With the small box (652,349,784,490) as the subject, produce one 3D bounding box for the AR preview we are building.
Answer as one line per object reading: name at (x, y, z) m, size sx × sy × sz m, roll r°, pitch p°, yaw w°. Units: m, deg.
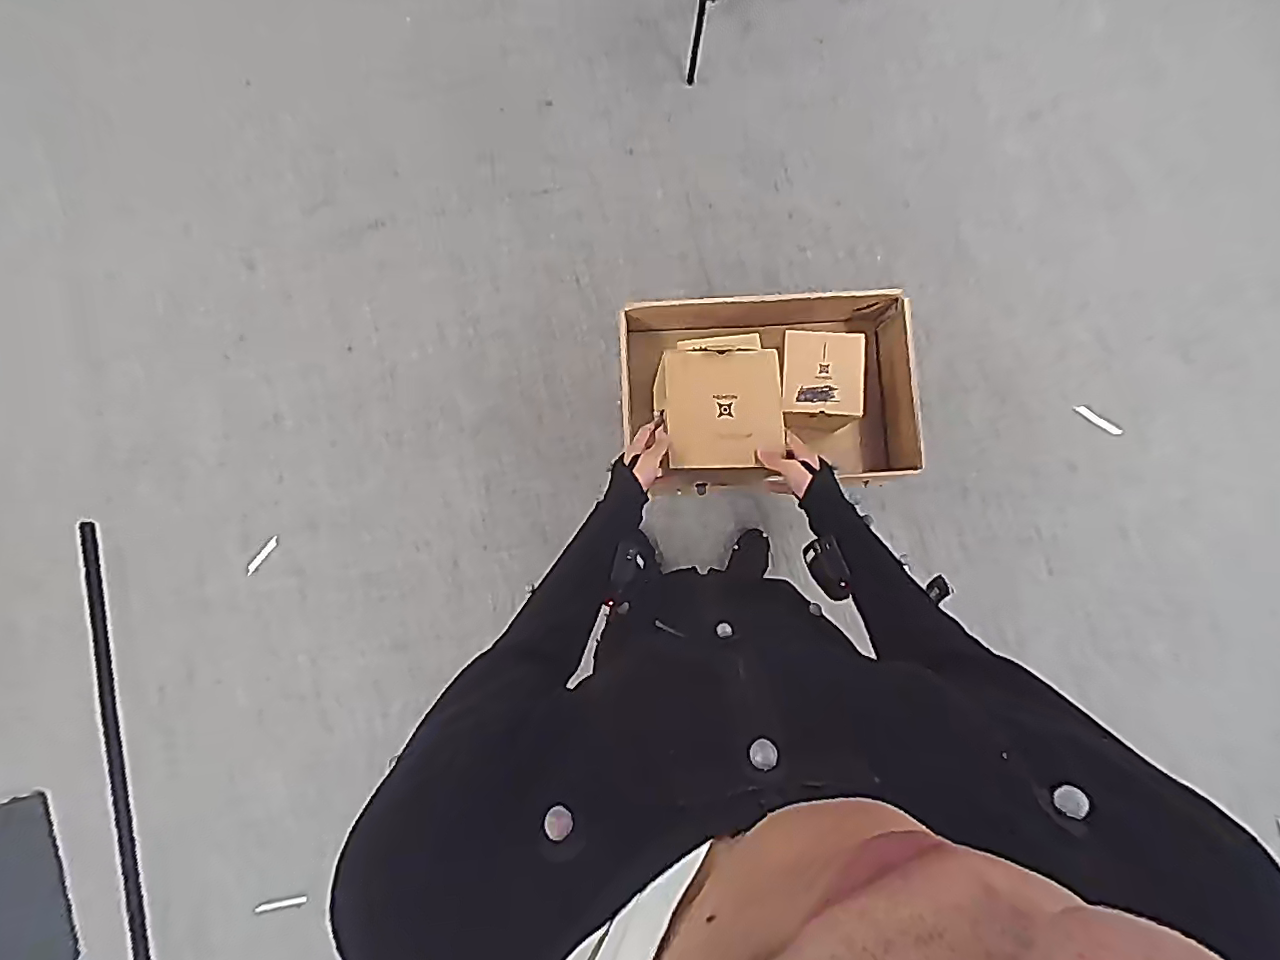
small box at (0.109, -0.086, 0.831) m, size 0.168 × 0.176 × 0.179 m, roll -1°, pitch 79°, yaw -4°
